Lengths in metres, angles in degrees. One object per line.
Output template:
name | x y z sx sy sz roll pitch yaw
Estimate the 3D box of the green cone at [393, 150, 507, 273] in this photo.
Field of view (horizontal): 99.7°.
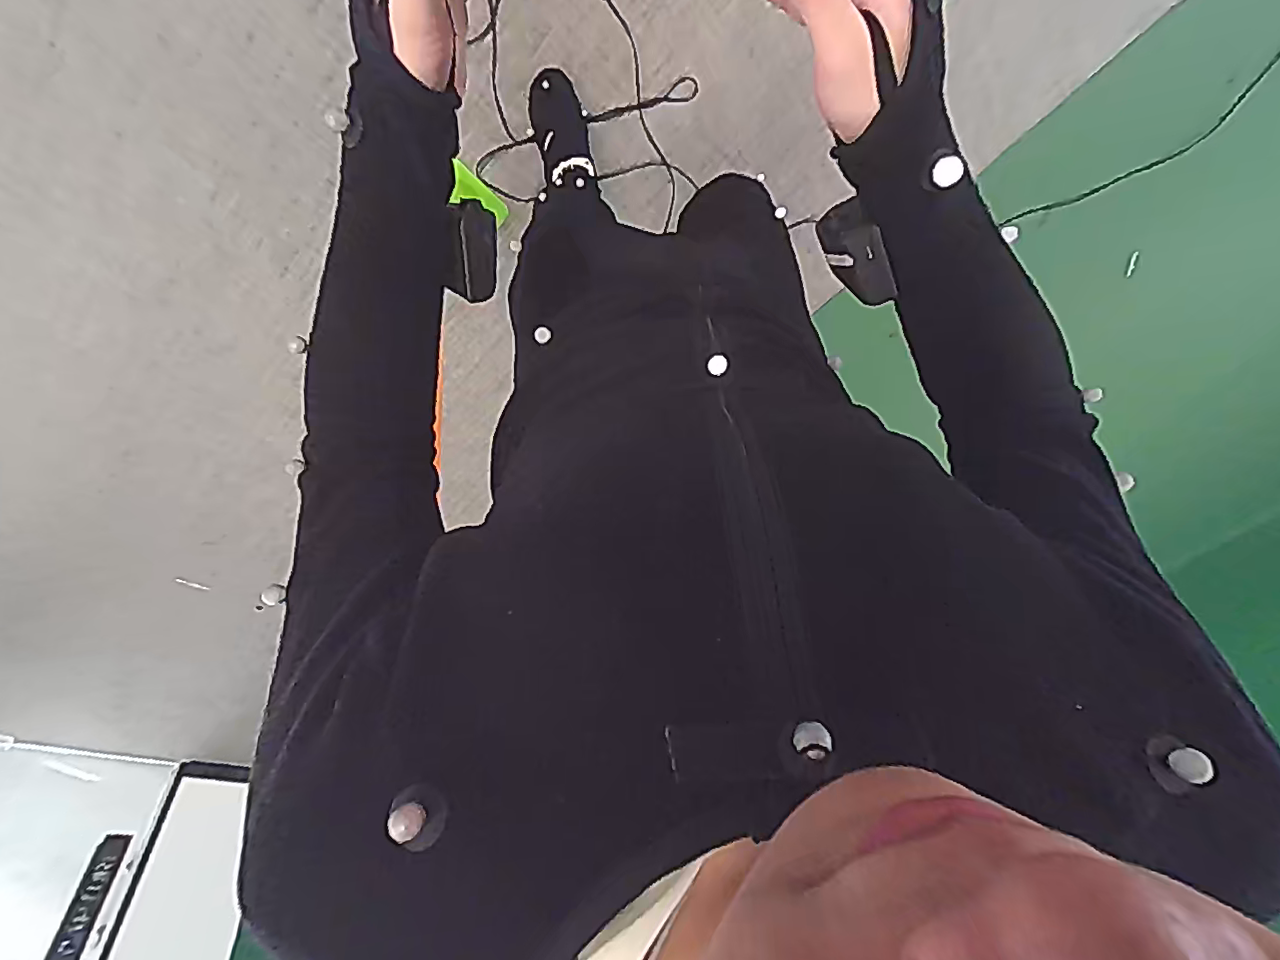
green cone | -0.413 -0.521 1.155 0.202 0.368 0.200 -40 129 20
